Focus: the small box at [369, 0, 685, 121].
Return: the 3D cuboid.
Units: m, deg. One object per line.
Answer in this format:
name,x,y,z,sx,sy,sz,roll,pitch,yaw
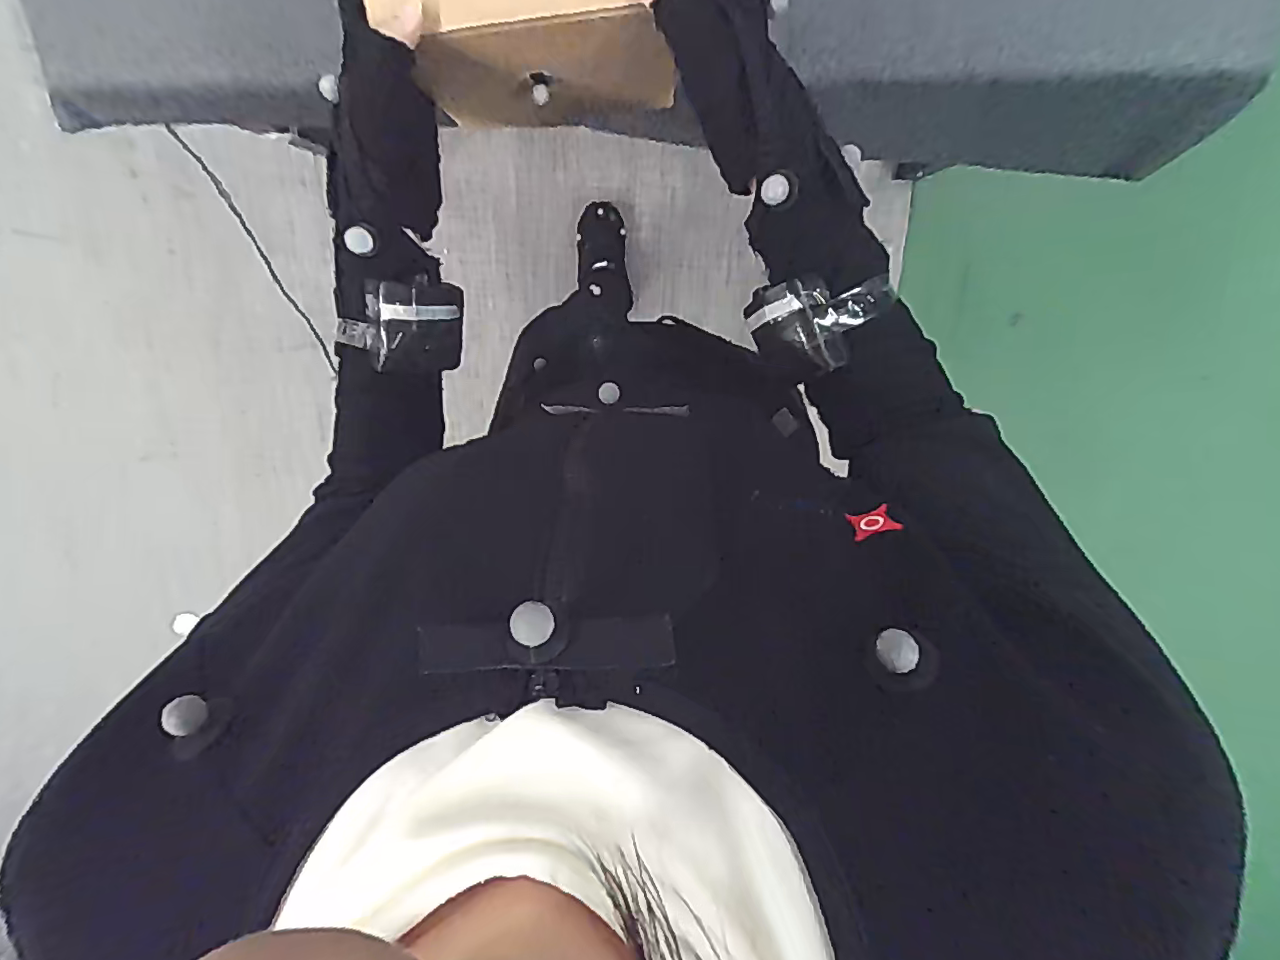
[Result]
small box,-0.067,-0.357,0.347,0.179,0.176,0.168,-5,108,4
